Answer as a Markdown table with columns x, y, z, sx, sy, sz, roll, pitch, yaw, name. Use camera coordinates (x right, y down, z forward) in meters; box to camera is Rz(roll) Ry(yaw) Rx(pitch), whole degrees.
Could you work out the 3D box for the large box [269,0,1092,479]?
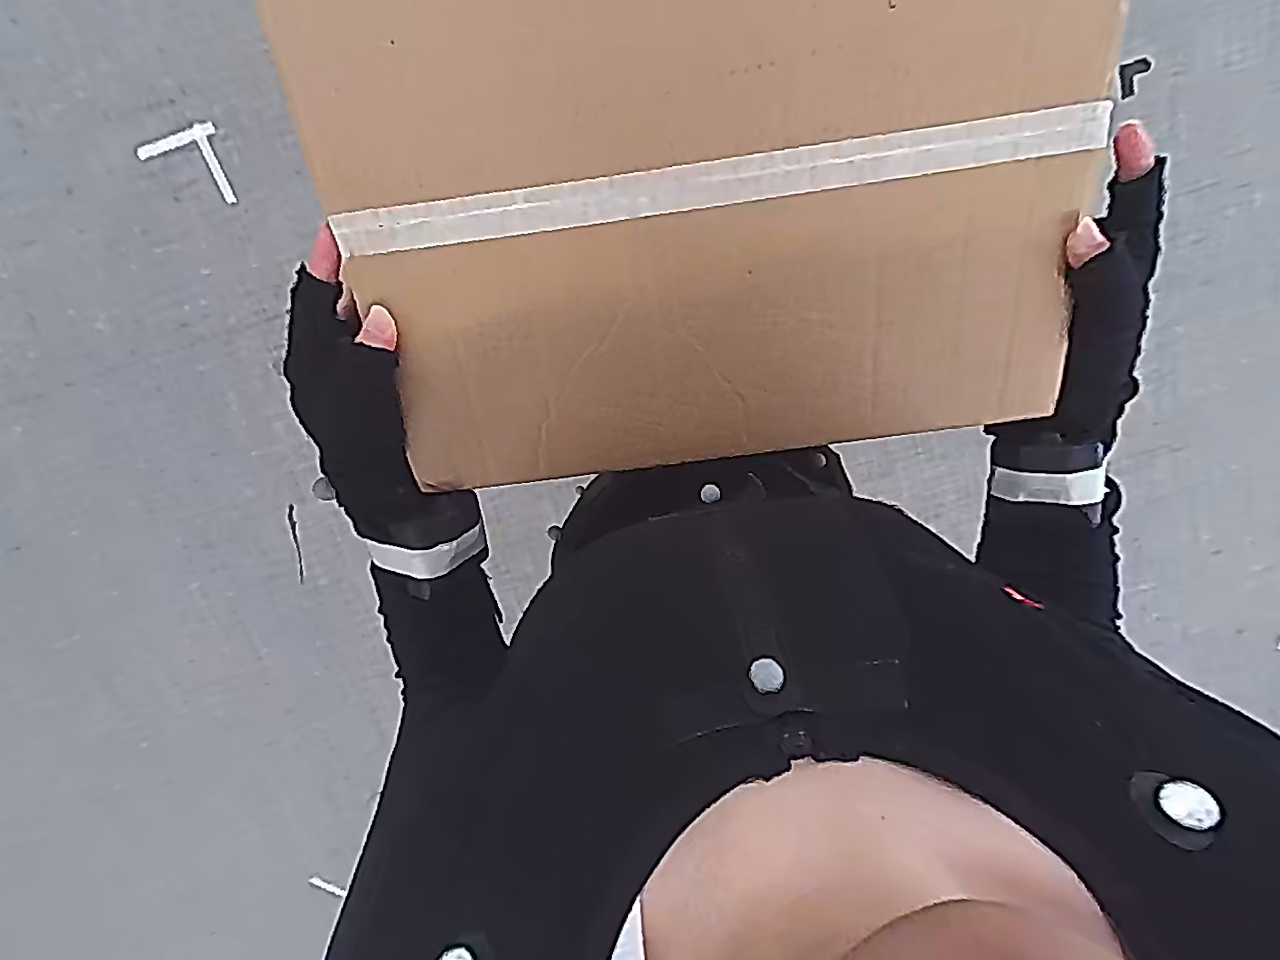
| x | y | z | sx | sy | sz | roll | pitch | yaw | name |
| --- | --- | --- | --- | --- | --- | --- | --- | --- | --- |
| 0.029 | -0.226 | 0.430 | 0.408 | 0.320 | 0.320 | -7 | 114 | 1 | large box |
